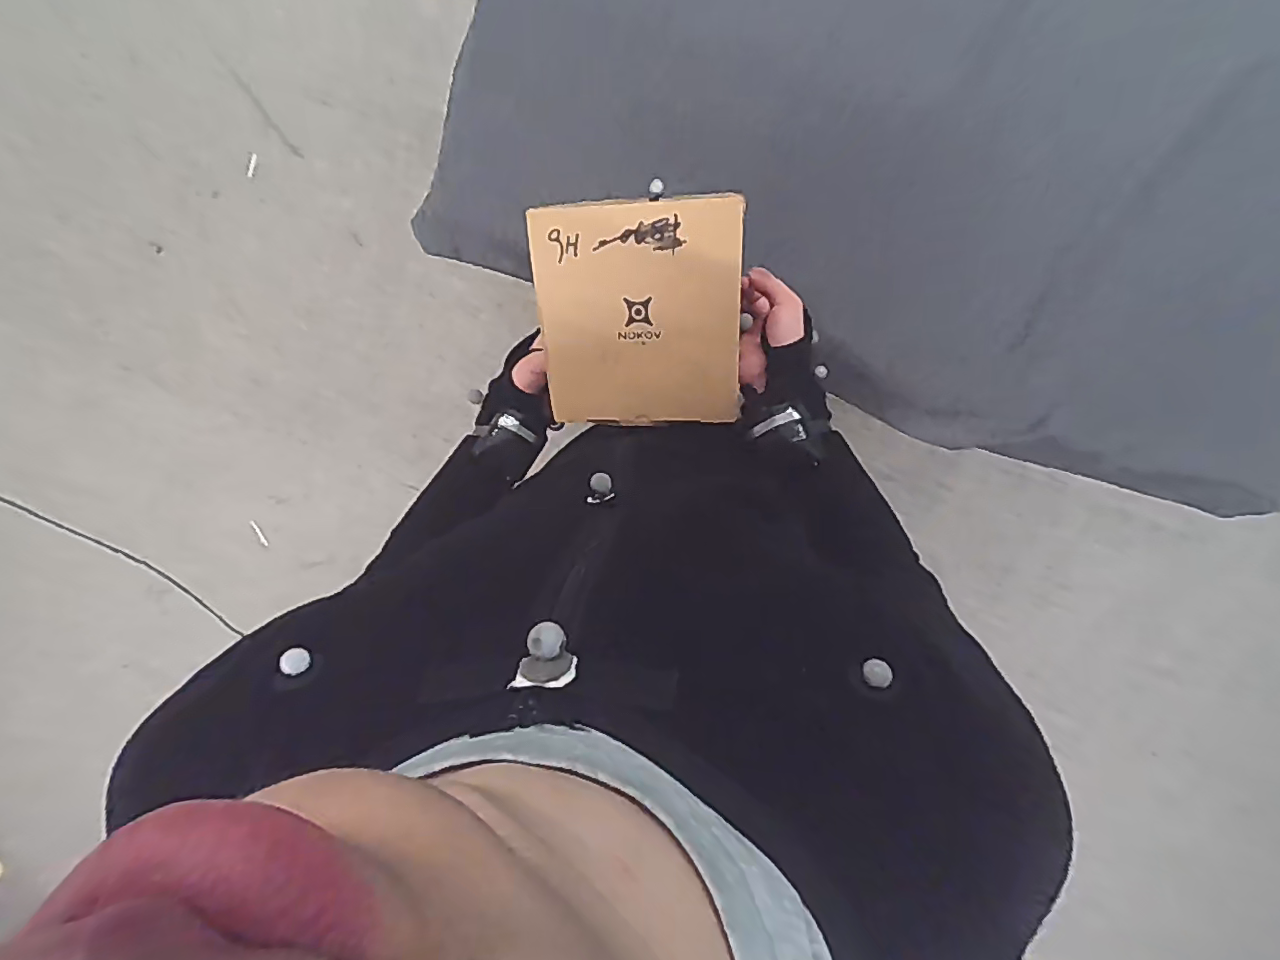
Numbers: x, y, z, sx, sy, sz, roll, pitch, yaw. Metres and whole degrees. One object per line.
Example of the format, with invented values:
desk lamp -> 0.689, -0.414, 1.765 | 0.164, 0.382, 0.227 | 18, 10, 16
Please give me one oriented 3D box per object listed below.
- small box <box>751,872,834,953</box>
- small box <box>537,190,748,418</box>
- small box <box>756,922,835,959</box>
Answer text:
small box -> 0.462, 1.369, 1.666 | 0.179, 0.176, 0.168 | 32, 100, 1
small box -> 0.014, -0.172, 0.519 | 0.168, 0.176, 0.179 | 1, 120, 7
small box -> 0.444, 1.395, 1.504 | 0.179, 0.176, 0.168 | 33, 100, 1
